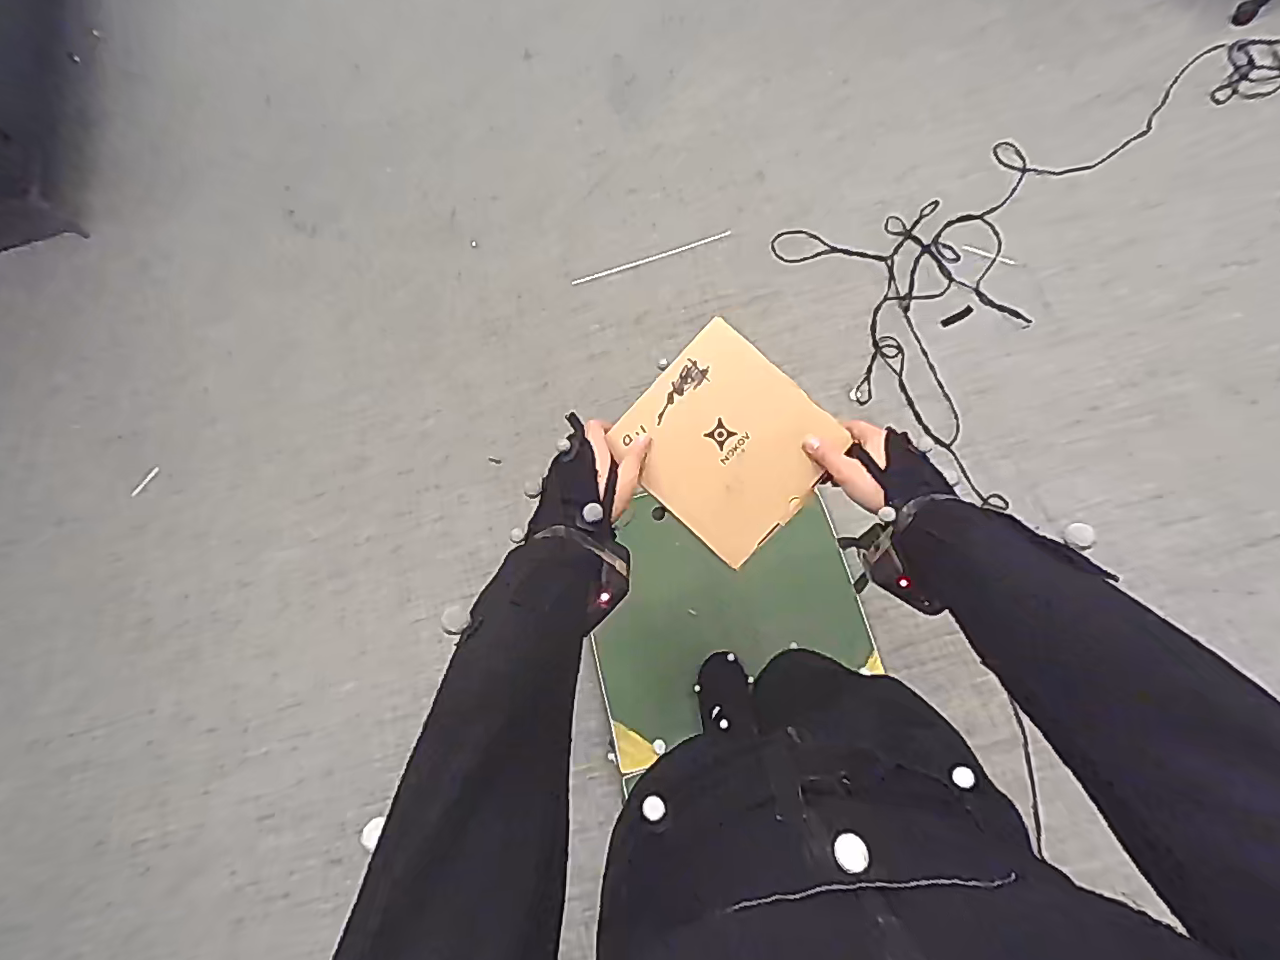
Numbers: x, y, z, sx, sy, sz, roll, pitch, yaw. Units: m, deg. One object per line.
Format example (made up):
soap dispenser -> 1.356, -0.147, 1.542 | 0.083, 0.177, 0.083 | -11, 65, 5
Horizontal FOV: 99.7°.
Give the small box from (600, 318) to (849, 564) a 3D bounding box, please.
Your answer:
small box -> 0.081, -0.035, 0.583 | 0.179, 0.176, 0.168 | 43, 89, 3
